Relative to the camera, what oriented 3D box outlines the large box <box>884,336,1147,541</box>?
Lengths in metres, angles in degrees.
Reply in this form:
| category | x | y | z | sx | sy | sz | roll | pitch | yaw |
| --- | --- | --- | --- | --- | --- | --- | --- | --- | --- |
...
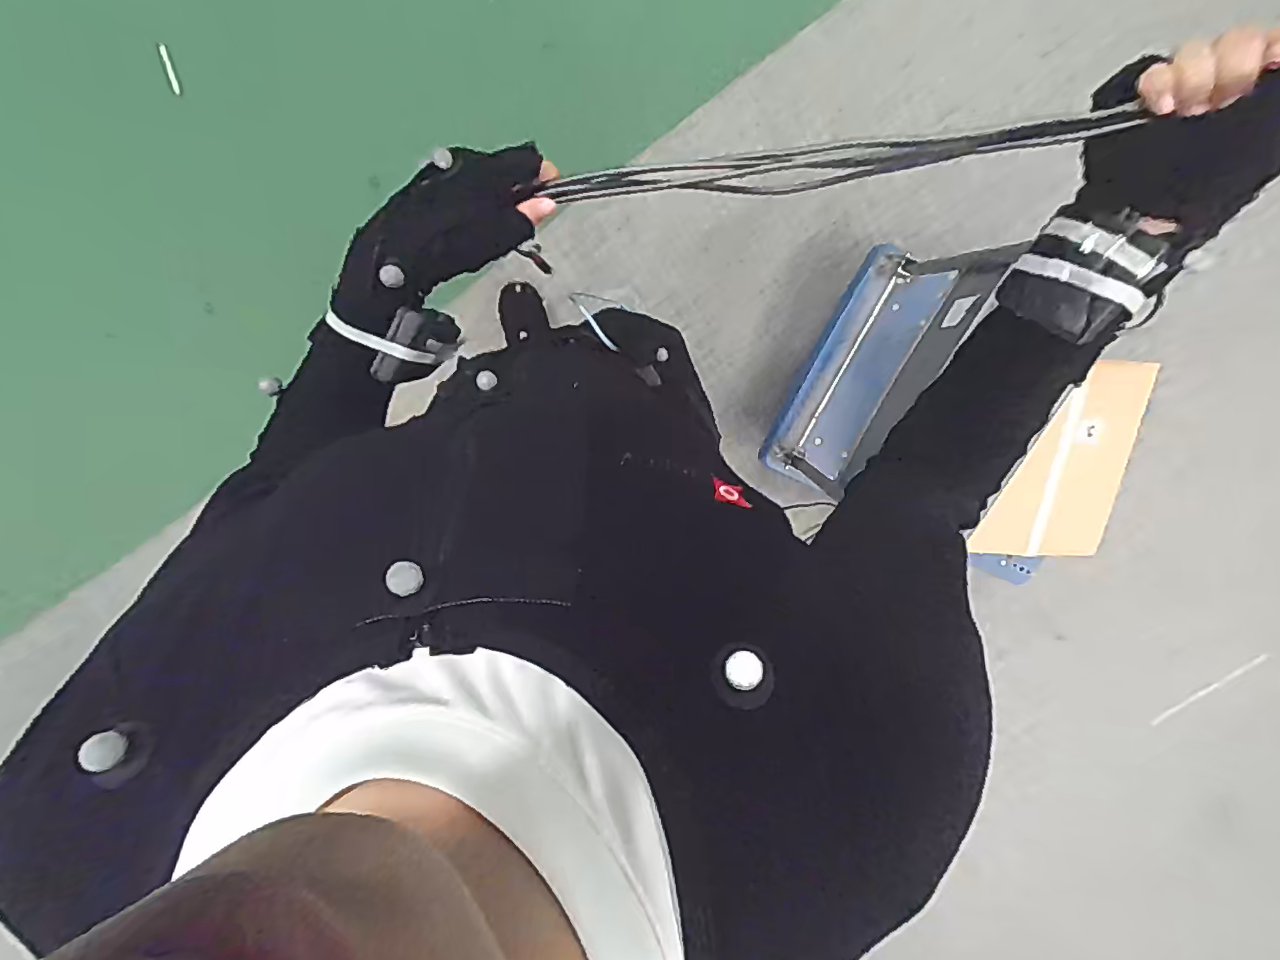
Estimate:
| category | x | y | z | sx | sy | sz | roll | pitch | yaw |
| --- | --- | --- | --- | --- | --- | --- | --- | --- | --- |
| large box | 0.802 | -0.106 | 1.222 | 0.320 | 0.320 | 0.408 | 3 | 107 | -6 |
